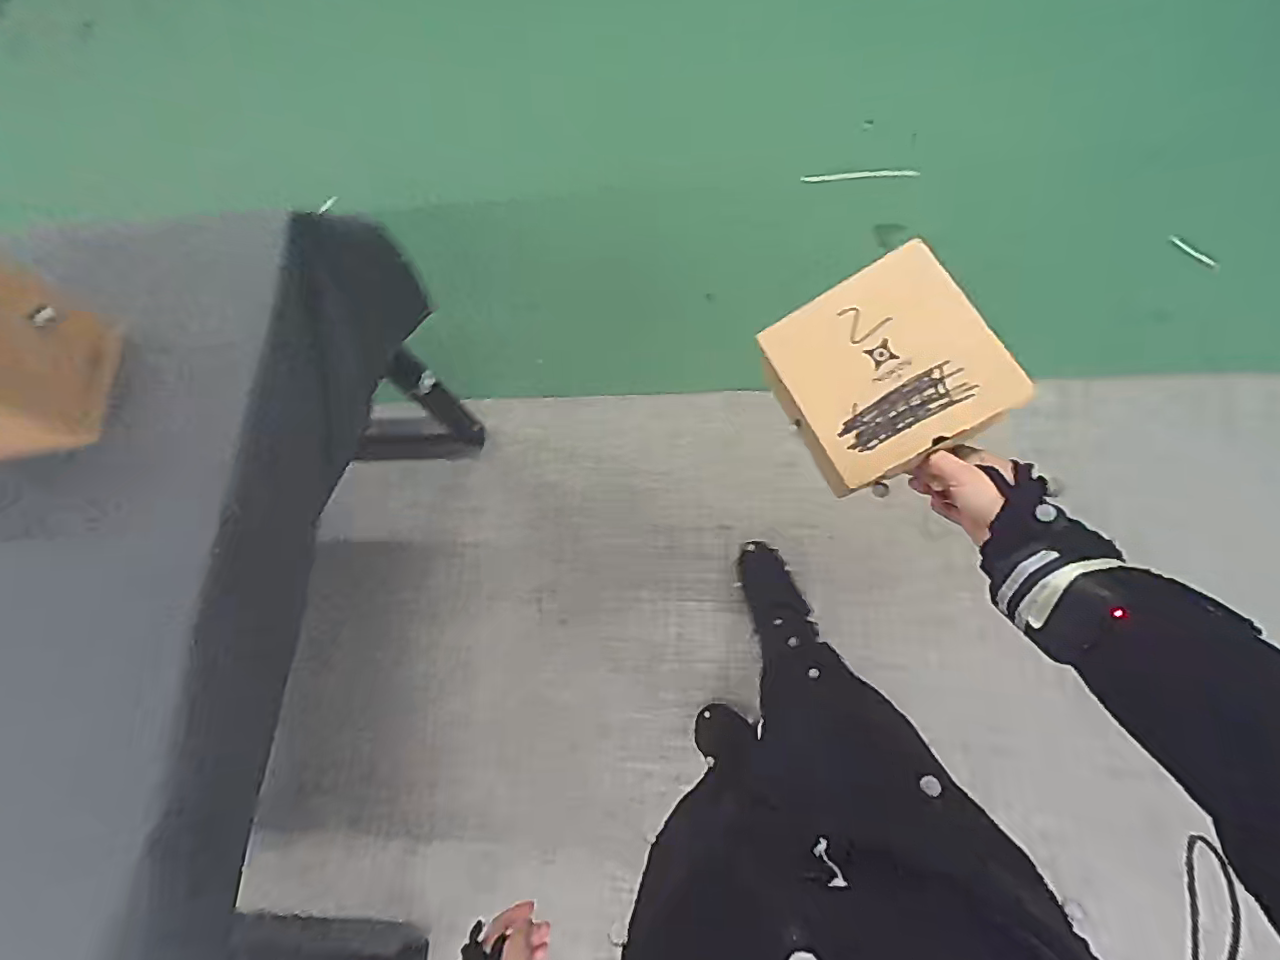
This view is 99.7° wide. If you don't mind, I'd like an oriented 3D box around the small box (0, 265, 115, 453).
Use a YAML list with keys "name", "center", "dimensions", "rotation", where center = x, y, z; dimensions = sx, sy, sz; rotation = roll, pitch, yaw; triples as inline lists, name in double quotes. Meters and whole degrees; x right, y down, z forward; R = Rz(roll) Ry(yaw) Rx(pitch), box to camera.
- name: "small box"
  center: [-0.751, -0.137, 0.600]
  dimensions: [0.179, 0.176, 0.168]
  rotation: [-9, 71, 5]
